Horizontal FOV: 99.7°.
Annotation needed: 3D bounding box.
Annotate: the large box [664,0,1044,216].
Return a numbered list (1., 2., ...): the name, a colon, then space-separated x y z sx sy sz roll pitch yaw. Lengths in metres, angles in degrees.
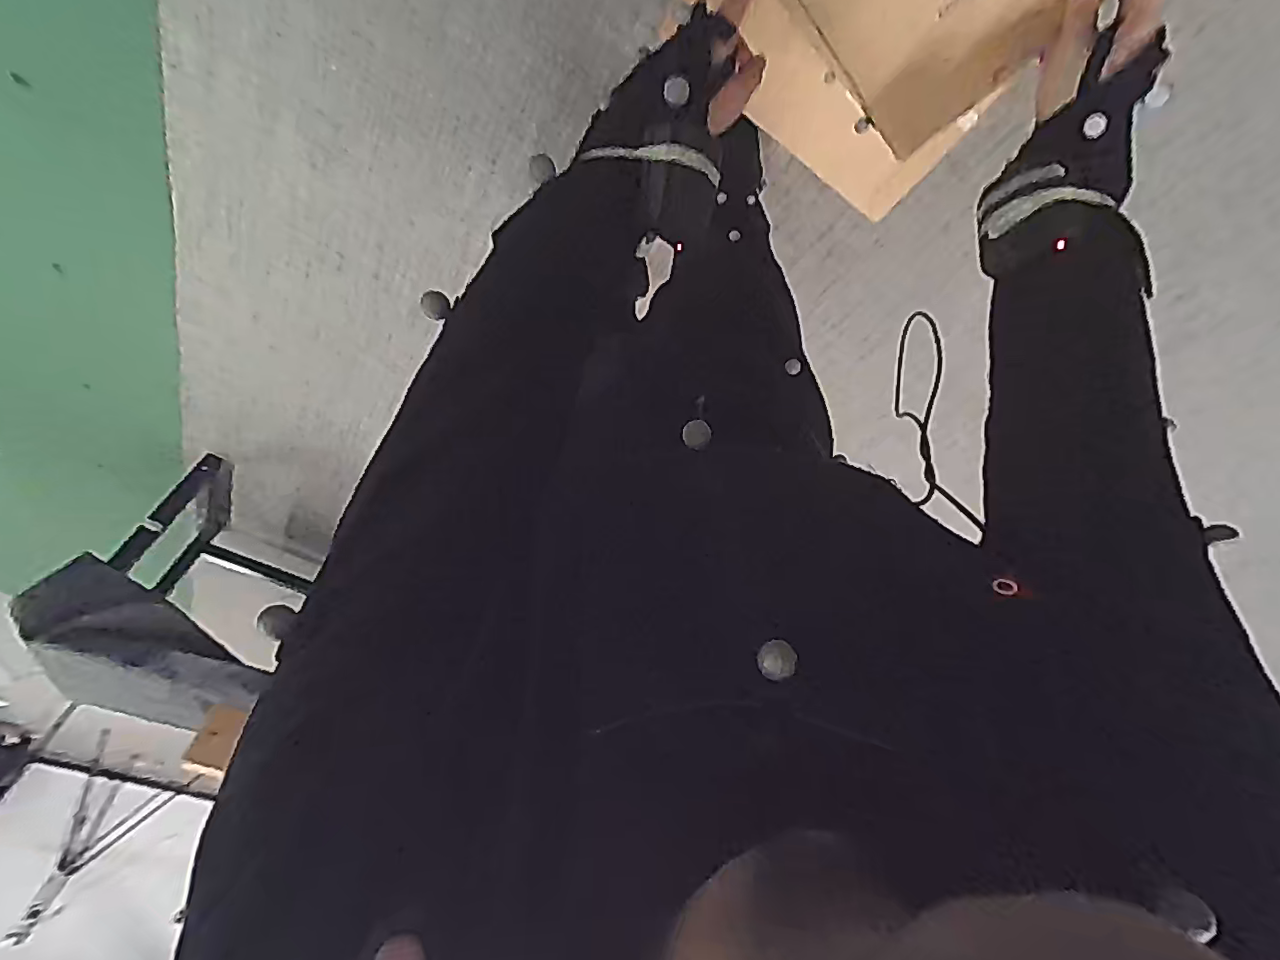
1. large box: 0.287 -0.667 0.750 0.408 0.320 0.320 26 136 -19

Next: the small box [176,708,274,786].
1. small box: -1.271 0.816 1.661 0.179 0.176 0.168 27 136 -19

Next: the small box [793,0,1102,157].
1. small box: 0.226 -0.412 0.433 0.179 0.176 0.168 35 131 -28
